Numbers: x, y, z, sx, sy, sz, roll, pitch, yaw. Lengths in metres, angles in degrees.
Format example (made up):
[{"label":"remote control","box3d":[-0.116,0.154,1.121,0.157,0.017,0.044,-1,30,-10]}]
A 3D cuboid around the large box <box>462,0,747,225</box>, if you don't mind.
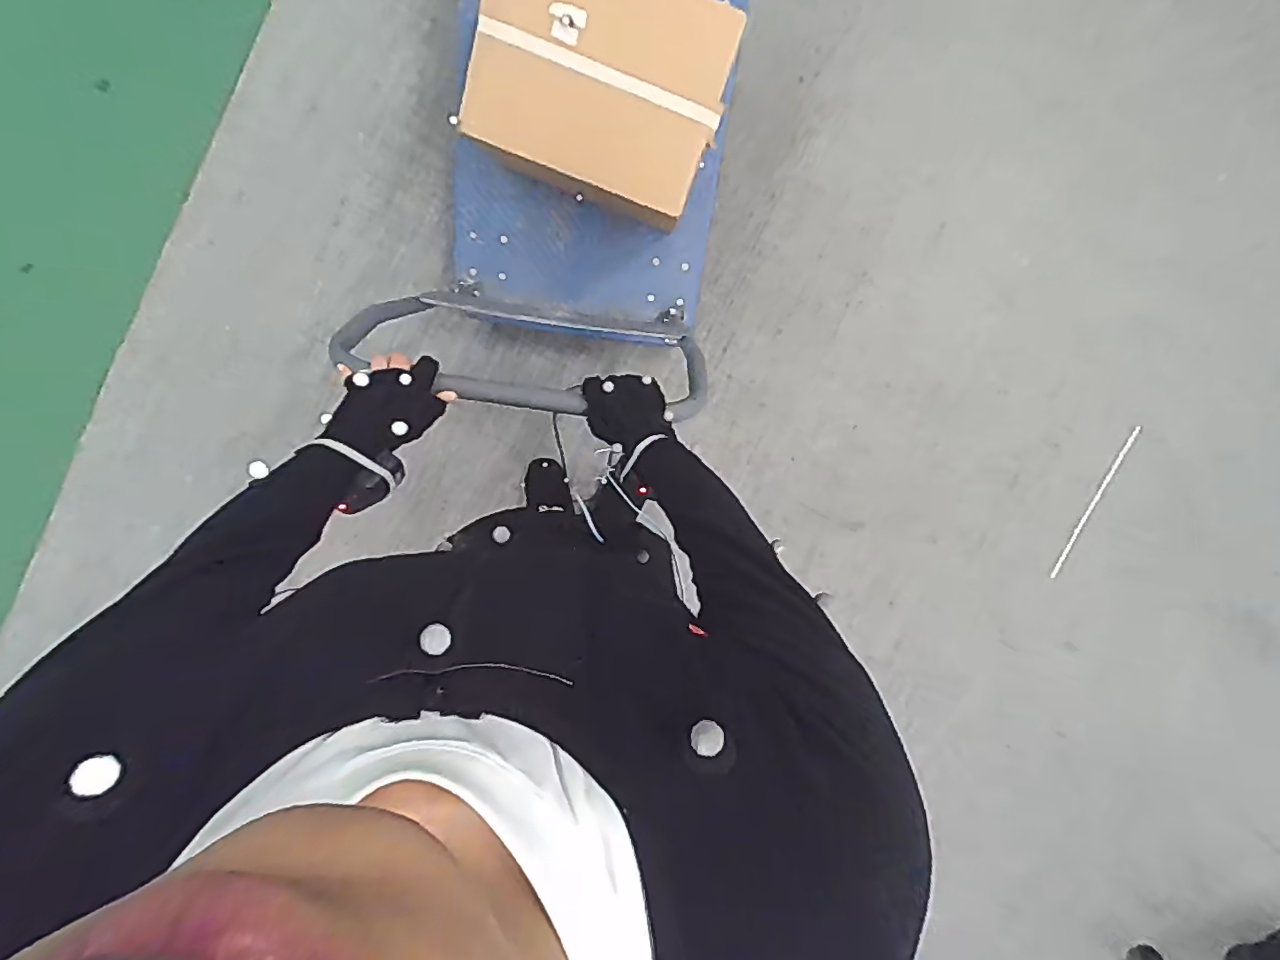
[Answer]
[{"label":"large box","box3d":[-0.060,-0.715,1.019,0.408,0.320,0.320,20,110,-6]}]
